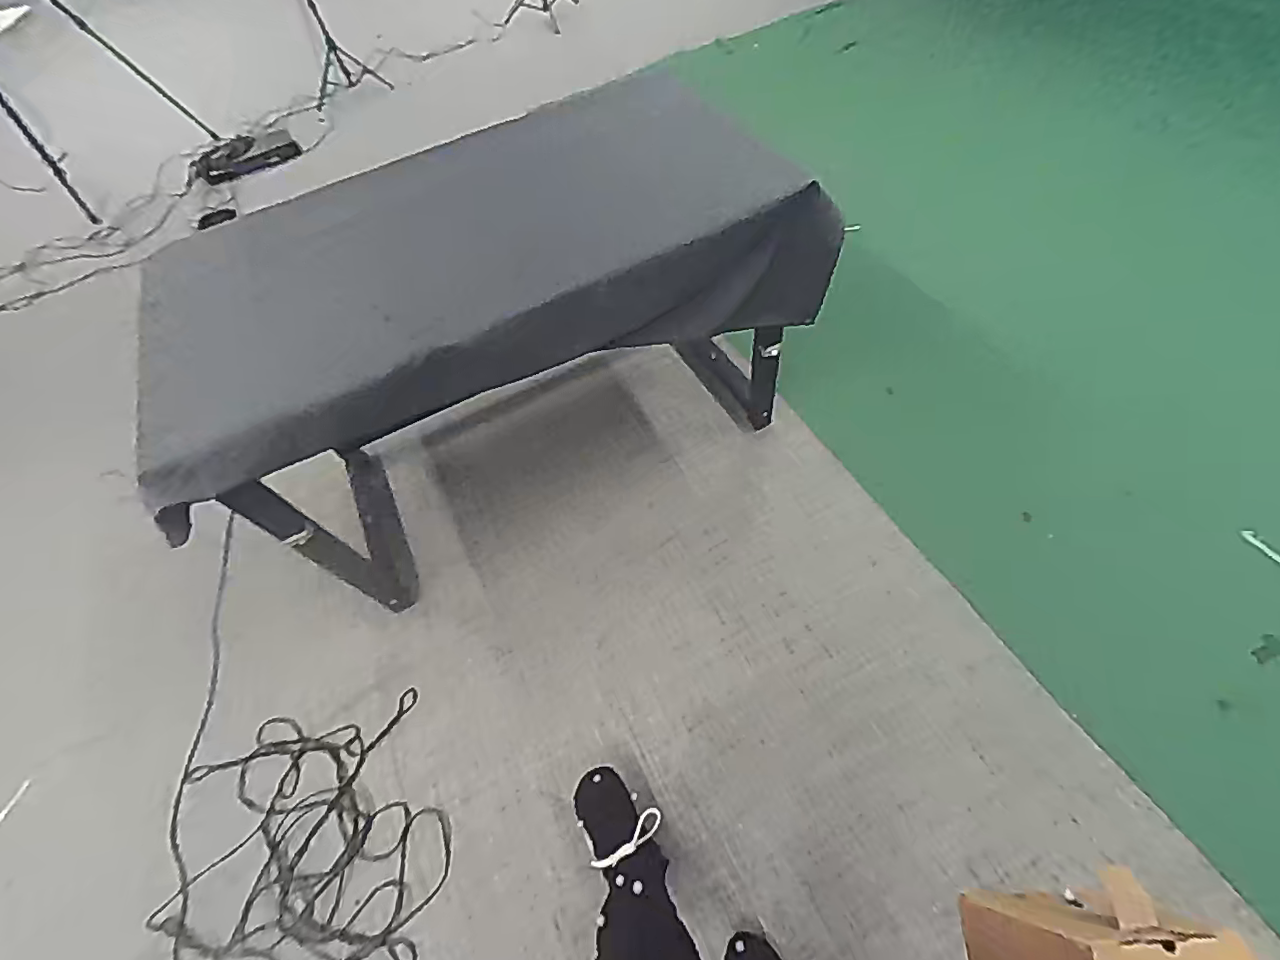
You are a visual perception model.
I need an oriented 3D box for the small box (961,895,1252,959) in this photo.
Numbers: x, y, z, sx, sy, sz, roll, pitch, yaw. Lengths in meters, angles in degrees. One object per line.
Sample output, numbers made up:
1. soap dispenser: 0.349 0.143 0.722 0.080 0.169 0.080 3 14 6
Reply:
1. small box: 0.443 0.516 0.504 0.168 0.176 0.179 5 63 -9
